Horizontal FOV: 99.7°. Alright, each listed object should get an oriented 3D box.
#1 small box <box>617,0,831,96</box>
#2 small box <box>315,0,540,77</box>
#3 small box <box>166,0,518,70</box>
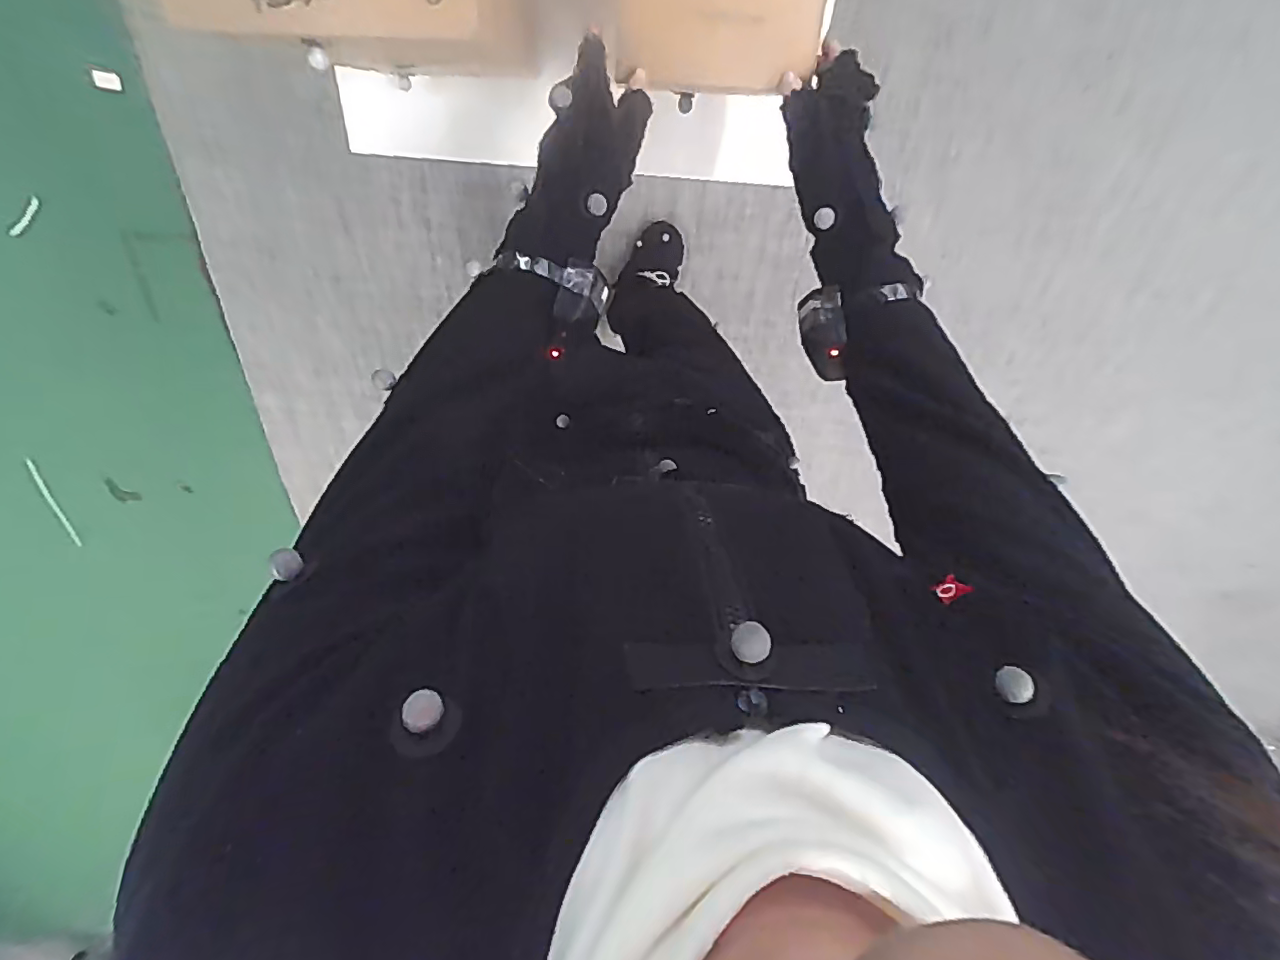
[{"bbox_3d":[0.064,-0.436,0.456,0.168,0.176,0.179,1,125,-1],"label":"small box"},{"bbox_3d":[-0.181,-0.452,0.454,0.168,0.176,0.179,0,123,-2],"label":"small box"},{"bbox_3d":[-0.172,-0.363,0.319,0.168,0.176,0.179,0,123,-2],"label":"small box"}]
